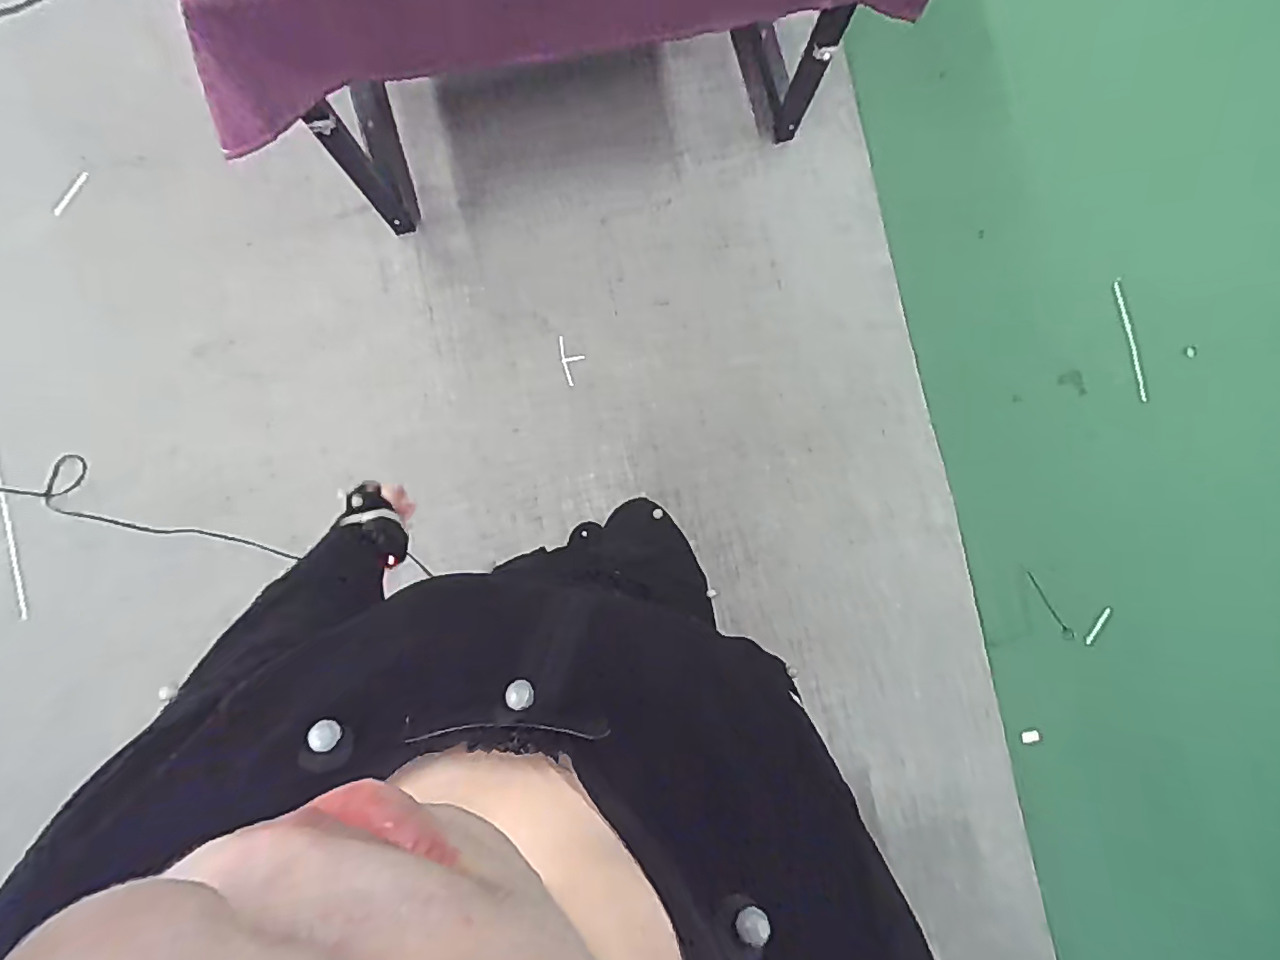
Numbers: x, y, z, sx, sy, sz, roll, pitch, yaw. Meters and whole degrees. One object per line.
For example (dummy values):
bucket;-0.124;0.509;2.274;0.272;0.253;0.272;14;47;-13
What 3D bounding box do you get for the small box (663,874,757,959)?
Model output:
small box;0.142;0.953;1.095;0.168;0.176;0.179;-8;90;-3
